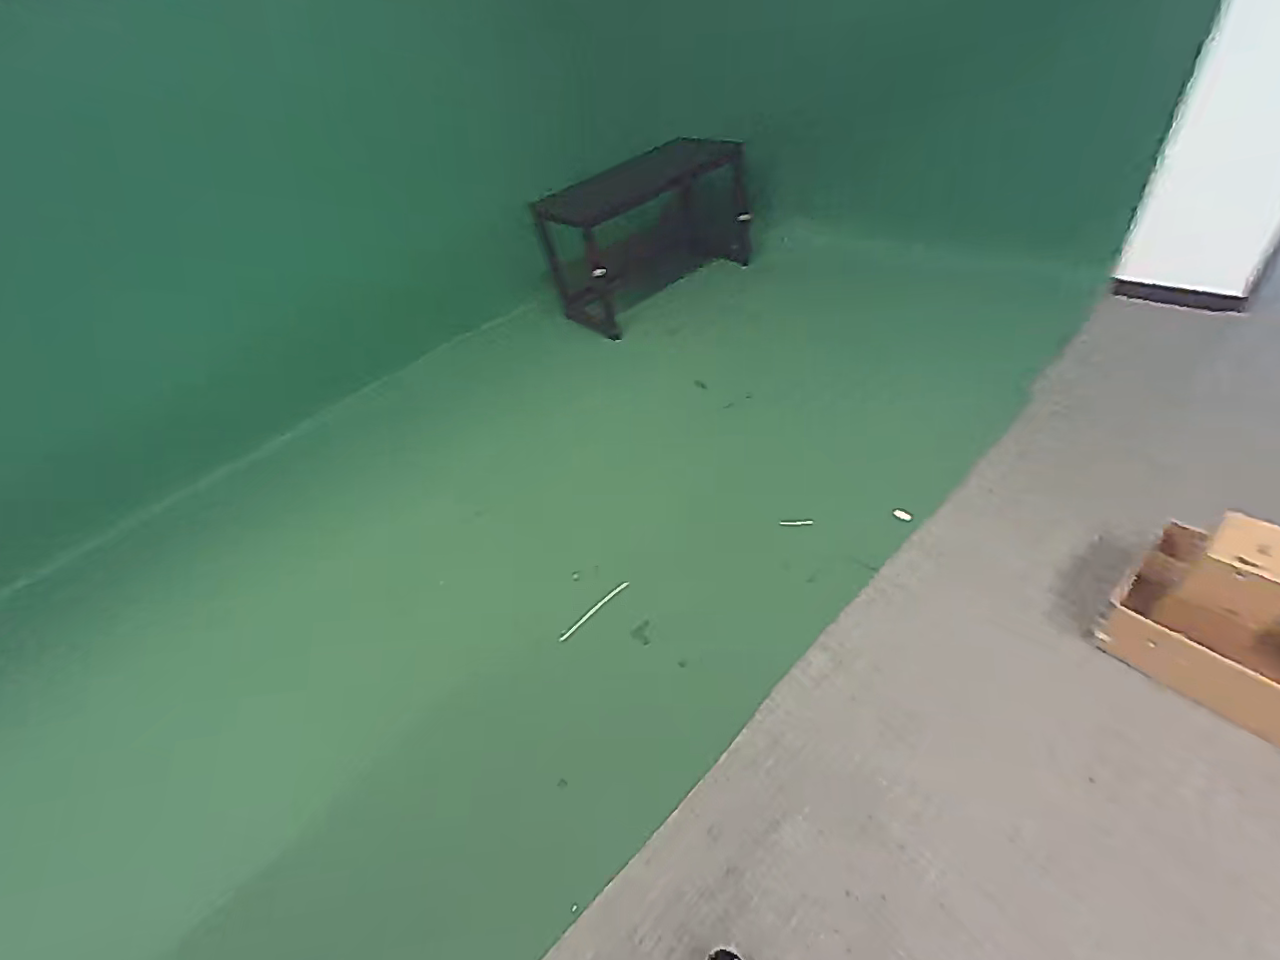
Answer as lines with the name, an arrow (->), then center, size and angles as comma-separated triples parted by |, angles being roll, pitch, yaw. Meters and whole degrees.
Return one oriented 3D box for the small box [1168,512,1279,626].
small box -> 1.448, 0.216, 1.318 | 0.179, 0.176, 0.168 | -39, 47, -24
